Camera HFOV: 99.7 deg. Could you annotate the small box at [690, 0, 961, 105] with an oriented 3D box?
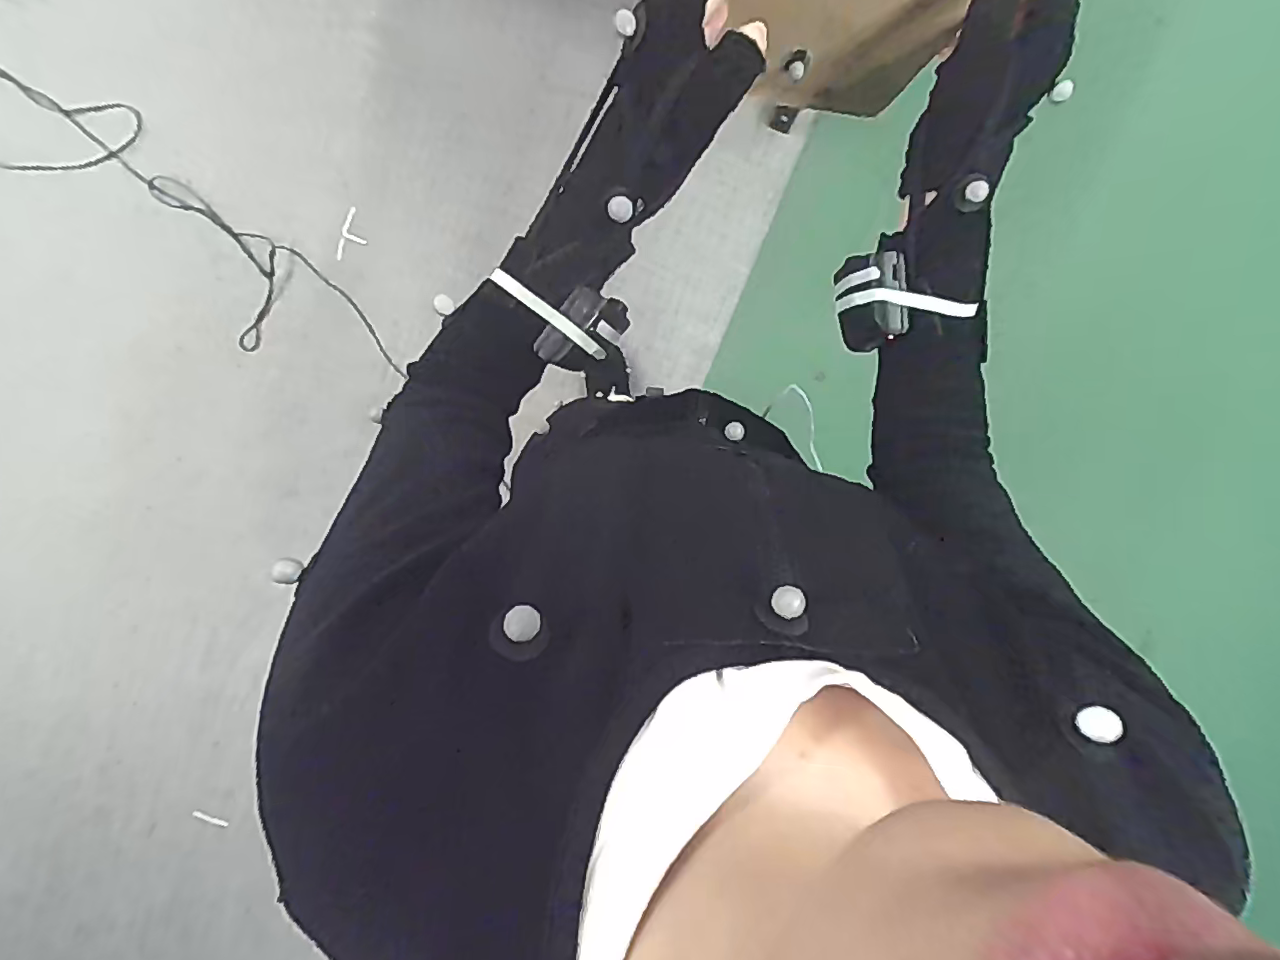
[{"bbox_3d":[0.135,-0.411,0.378,0.168,0.176,0.179,4,97,-6],"label":"small box"}]
